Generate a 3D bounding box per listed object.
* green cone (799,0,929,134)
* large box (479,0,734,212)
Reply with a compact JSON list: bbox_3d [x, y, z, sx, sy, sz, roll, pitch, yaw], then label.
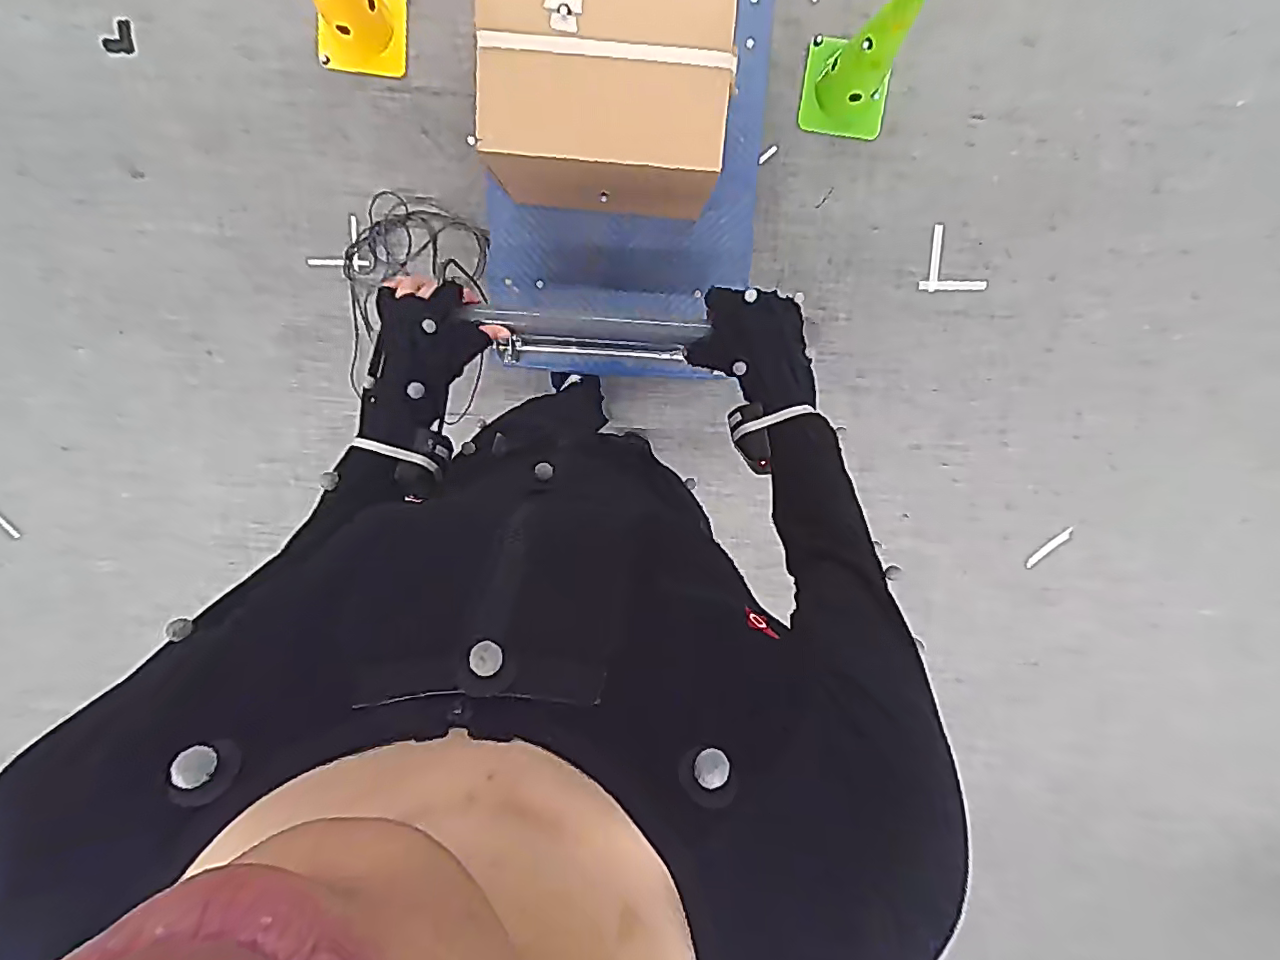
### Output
[{"bbox_3d":[0.492,-0.905,1.114,0.202,0.368,0.200,6,102,-3],"label":"green cone"},{"bbox_3d":[-0.055,-0.707,1.001,0.408,0.320,0.320,4,102,-1],"label":"large box"}]
